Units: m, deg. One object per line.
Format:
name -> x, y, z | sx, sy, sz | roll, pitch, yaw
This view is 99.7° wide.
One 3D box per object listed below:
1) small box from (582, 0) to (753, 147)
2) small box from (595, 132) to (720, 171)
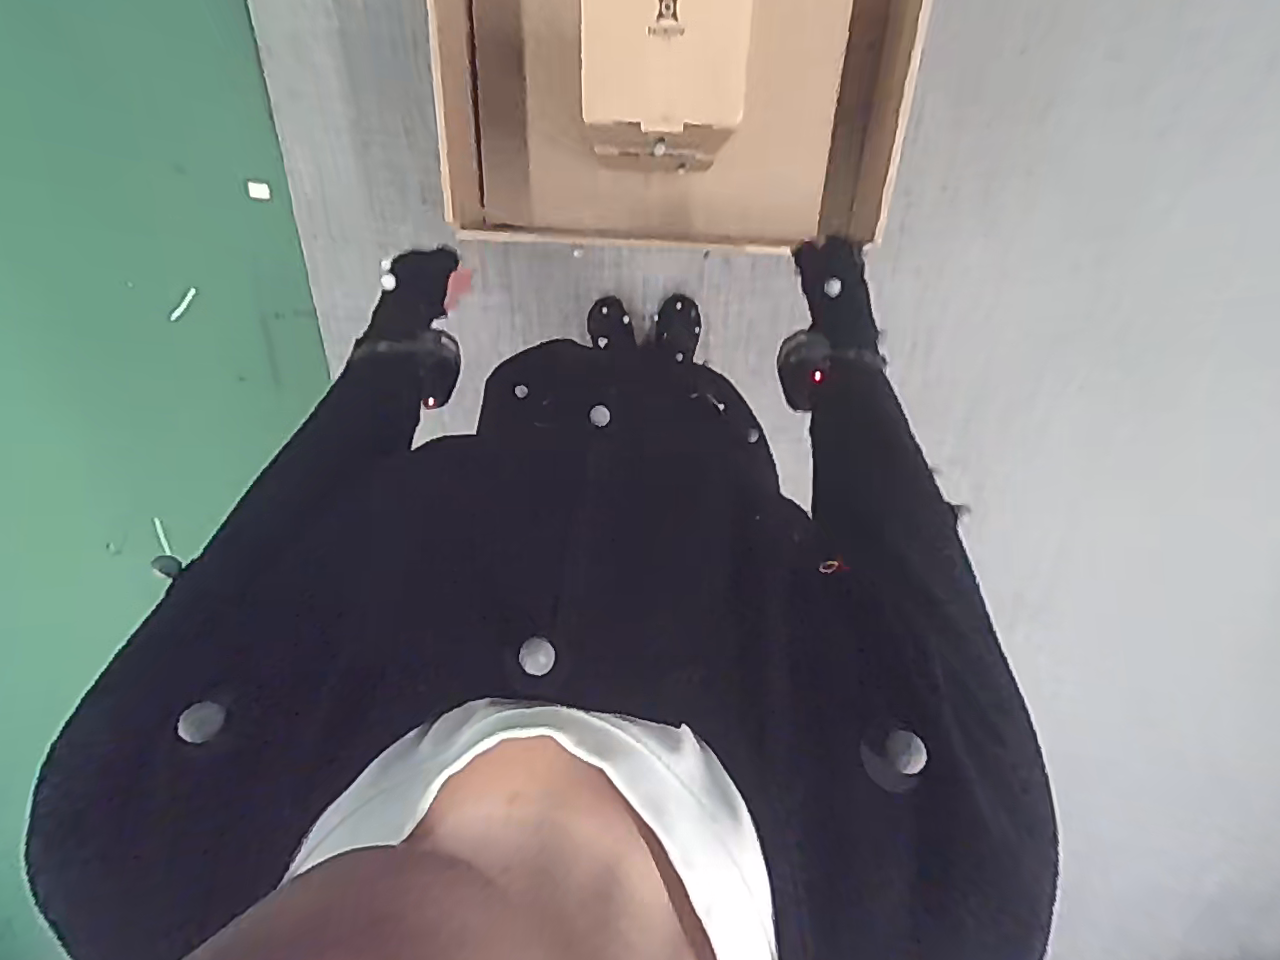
small box -> 0.027, -0.477, 0.594 | 0.168, 0.176, 0.179 | 2, 115, -1
small box -> 0.028, -0.536, 0.747 | 0.168, 0.176, 0.179 | 2, 112, 0
